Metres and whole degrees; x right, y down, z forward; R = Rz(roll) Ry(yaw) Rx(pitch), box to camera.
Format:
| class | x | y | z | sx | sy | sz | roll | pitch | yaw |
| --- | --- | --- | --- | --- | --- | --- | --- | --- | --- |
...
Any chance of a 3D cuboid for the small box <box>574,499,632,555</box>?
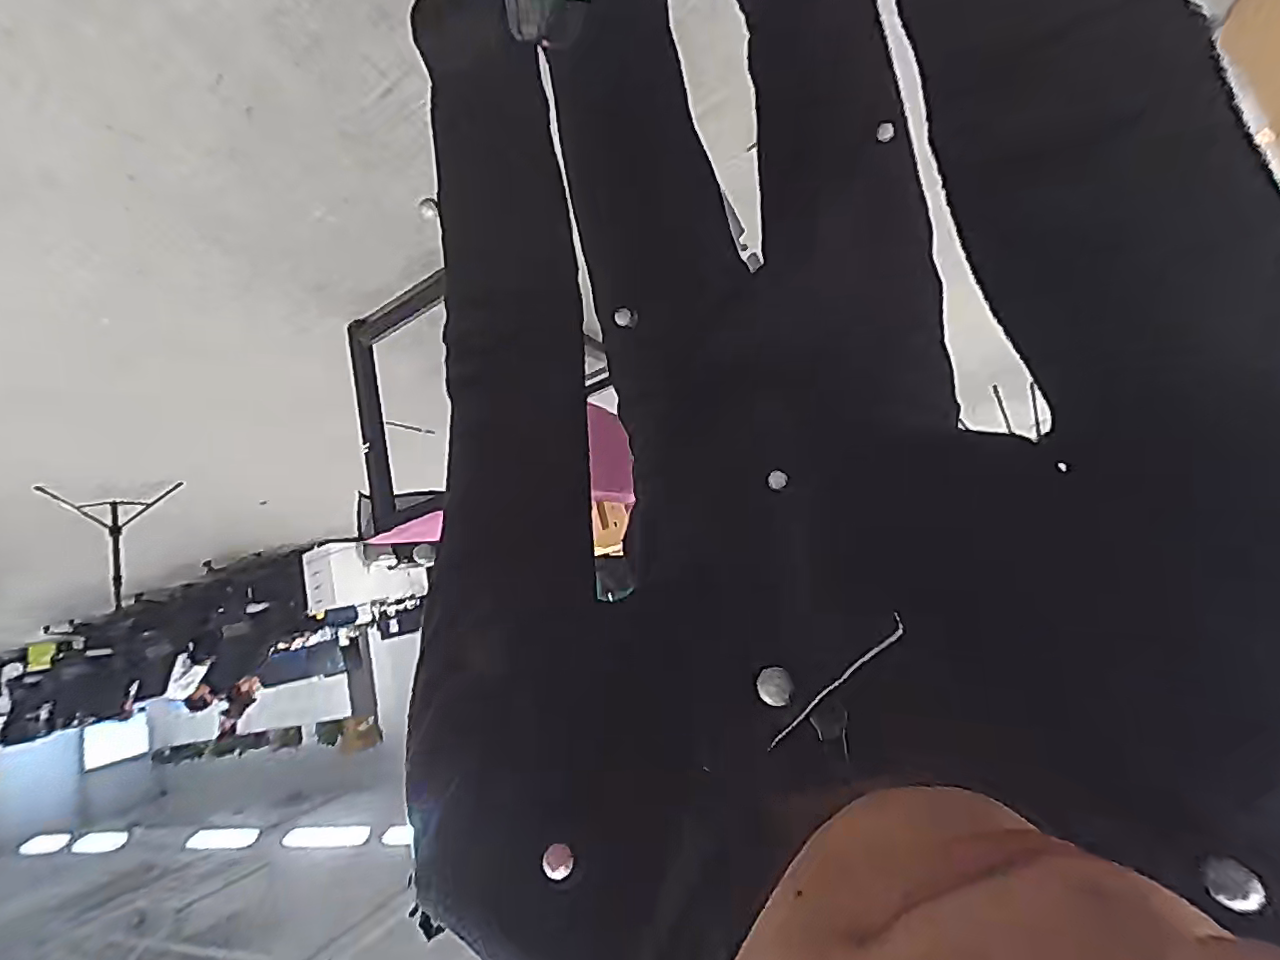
| class | x | y | z | sx | sy | sz | roll | pitch | yaw |
| --- | --- | --- | --- | --- | --- | --- | --- | --- | --- |
| small box | -0.154 | 0.172 | 2.005 | 0.179 | 0.176 | 0.168 | -18 | 168 | 20 |

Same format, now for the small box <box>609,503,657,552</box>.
| class | x | y | z | sx | sy | sz | roll | pitch | yaw |
| --- | --- | --- | --- | --- | --- | --- | --- | --- | --- |
| small box | -0.044 | 0.204 | 2.301 | 0.179 | 0.176 | 0.168 | -17 | 169 | 14 |

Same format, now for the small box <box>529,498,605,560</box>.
| class | x | y | z | sx | sy | sz | roll | pitch | yaw |
| --- | --- | --- | --- | --- | --- | --- | --- | --- | --- |
| small box | -0.247 | 0.159 | 1.804 | 0.179 | 0.176 | 0.168 | -18 | 169 | 28 |
